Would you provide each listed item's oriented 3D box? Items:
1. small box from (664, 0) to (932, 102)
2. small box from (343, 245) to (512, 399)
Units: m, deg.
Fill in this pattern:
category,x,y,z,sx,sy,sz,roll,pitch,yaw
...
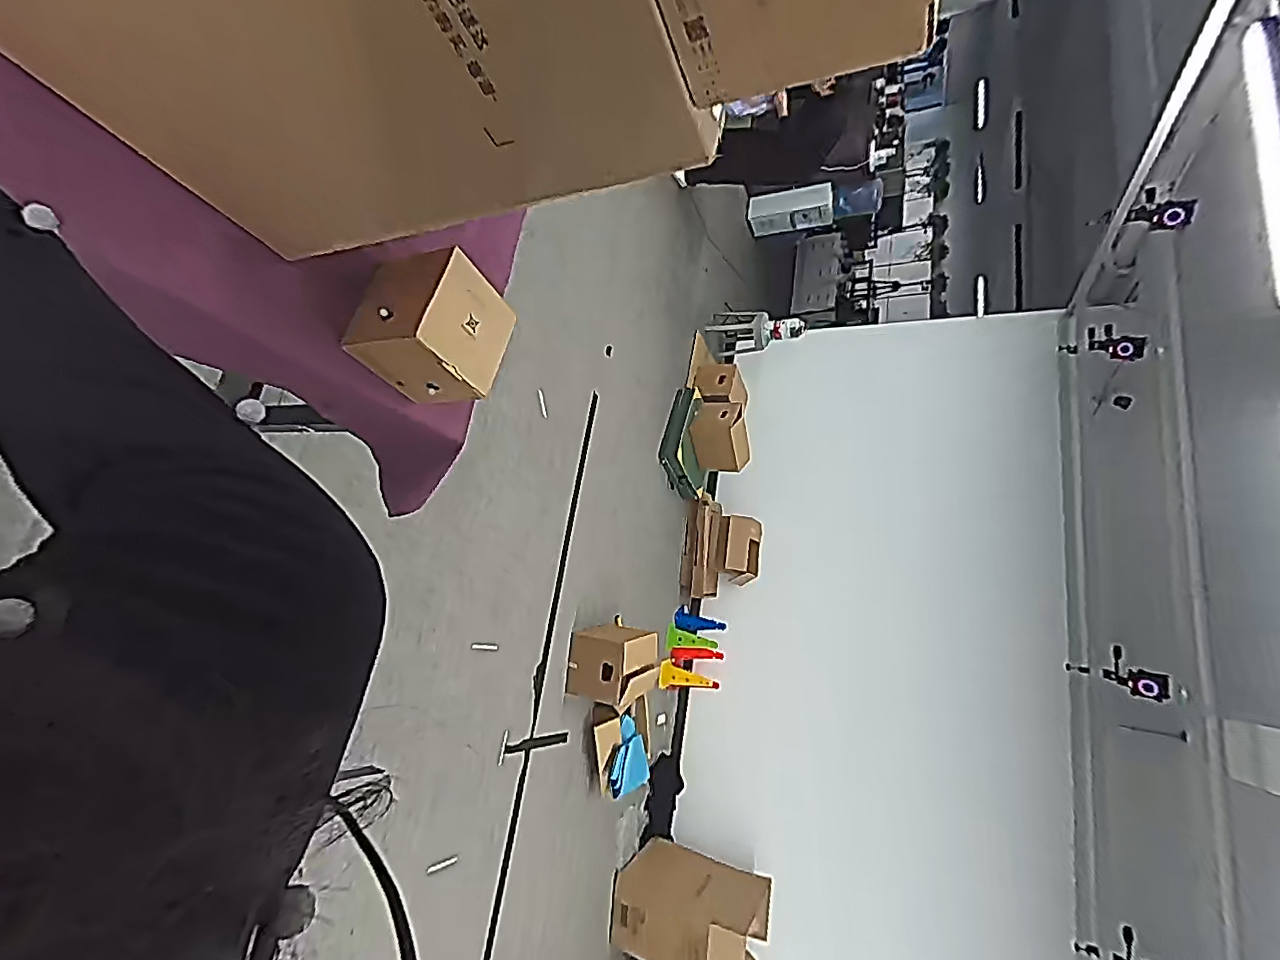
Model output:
category,x,y,z,sx,sy,sz,roll,pitch,yaw
small box,0.104,-0.398,0.357,0.168,0.176,0.179,38,61,-60
small box,-0.344,-0.246,0.884,0.168,0.176,0.179,49,48,-56
